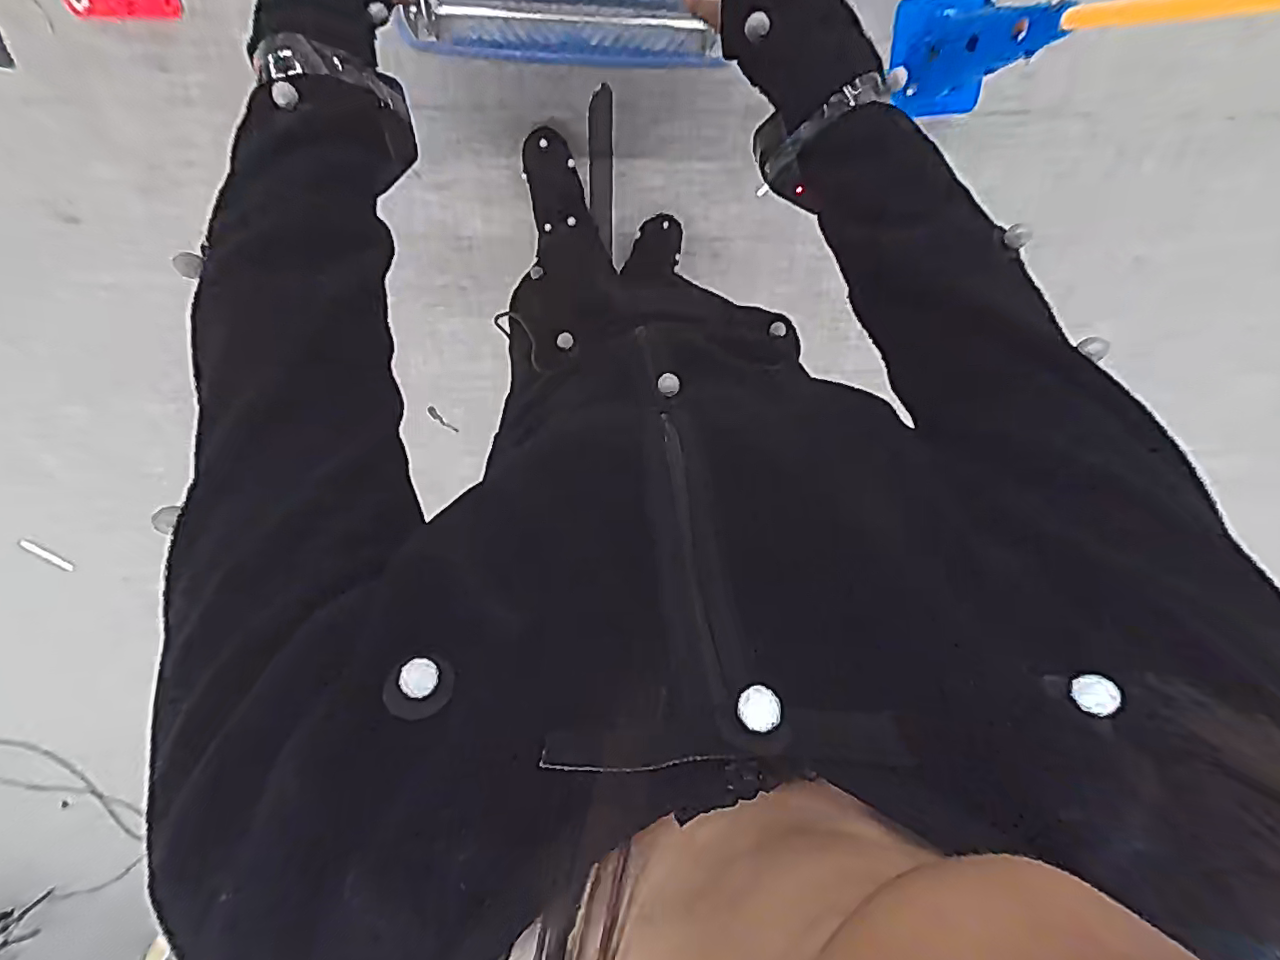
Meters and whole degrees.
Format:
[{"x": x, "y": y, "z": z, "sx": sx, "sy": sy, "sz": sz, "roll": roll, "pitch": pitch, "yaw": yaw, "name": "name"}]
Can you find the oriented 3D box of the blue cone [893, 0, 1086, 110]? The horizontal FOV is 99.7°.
[{"x": 0.619, "y": -0.778, "z": 0.943, "sx": 0.193, "sy": 0.380, "sz": 0.192, "roll": -4, "pitch": 120, "yaw": -2, "name": "blue cone"}]
